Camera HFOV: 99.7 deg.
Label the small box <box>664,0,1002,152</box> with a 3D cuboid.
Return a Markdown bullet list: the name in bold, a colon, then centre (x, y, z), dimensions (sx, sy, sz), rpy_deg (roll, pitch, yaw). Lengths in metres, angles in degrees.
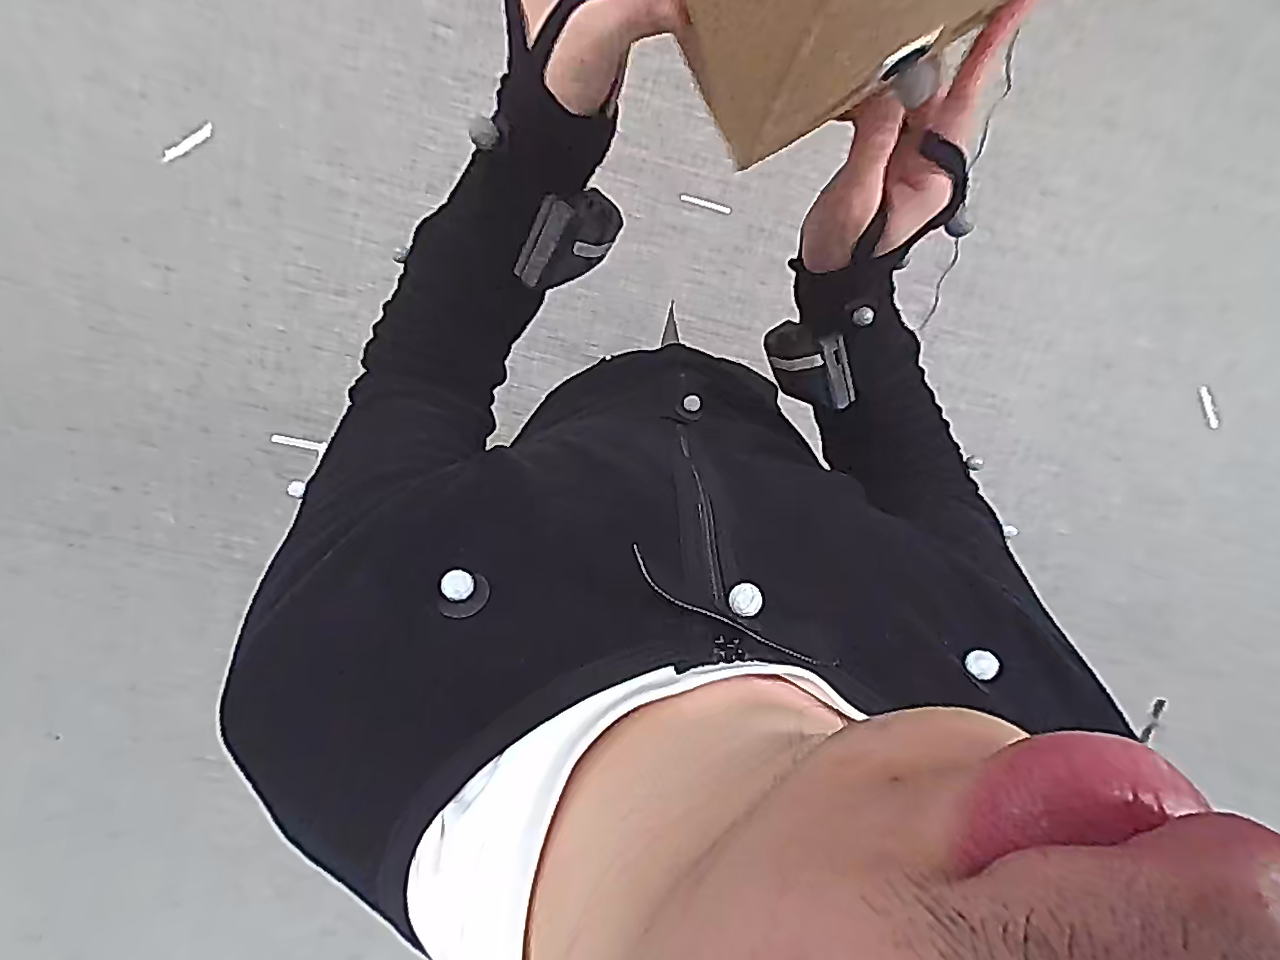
- **small box**: centre (0.072, -0.248, 0.169), dimensions (0.168, 0.176, 0.179), rpy_deg (-30, 103, 14)
